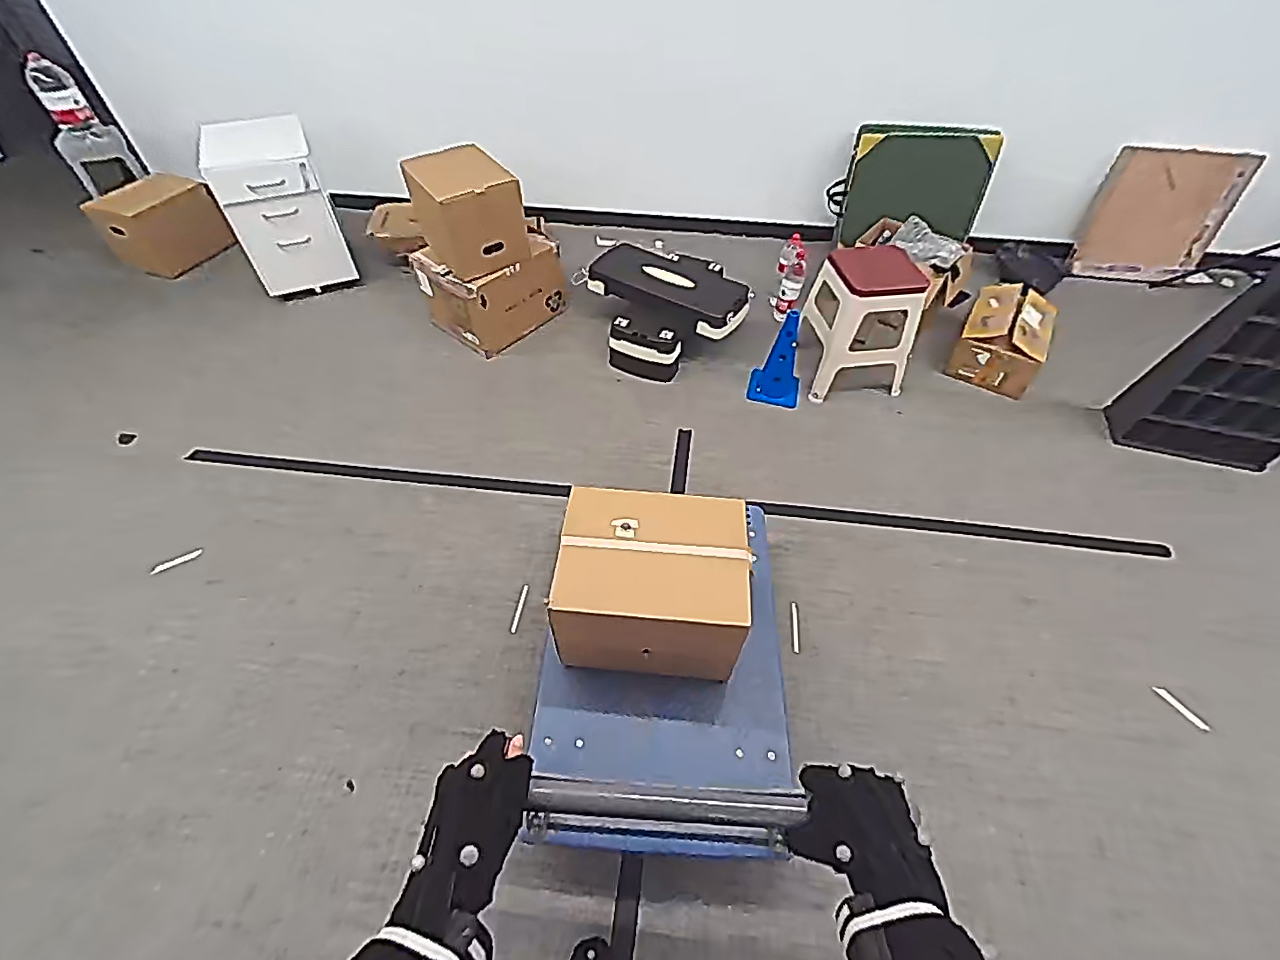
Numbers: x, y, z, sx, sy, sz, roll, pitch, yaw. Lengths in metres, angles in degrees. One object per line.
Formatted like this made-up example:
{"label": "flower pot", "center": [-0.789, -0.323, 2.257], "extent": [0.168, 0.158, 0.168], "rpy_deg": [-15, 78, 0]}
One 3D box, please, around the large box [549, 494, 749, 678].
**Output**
{"label": "large box", "center": [0.028, 0.255, 1.275], "extent": [0.408, 0.320, 0.320], "rpy_deg": [4, 51, 3]}
